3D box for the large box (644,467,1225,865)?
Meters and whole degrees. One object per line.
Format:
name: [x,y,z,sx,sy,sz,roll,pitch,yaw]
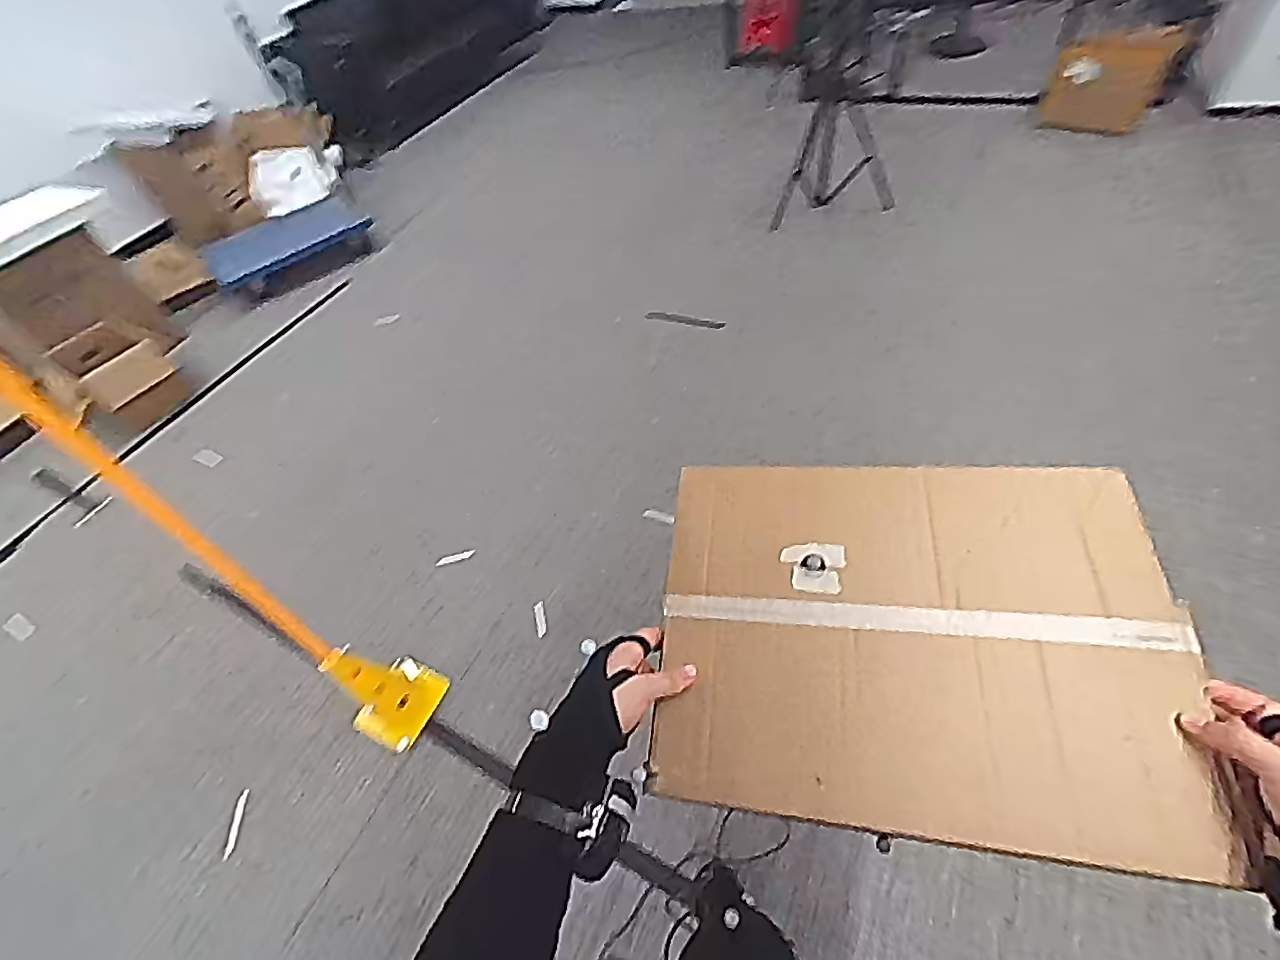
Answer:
large box: [0.247,0.202,0.599,0.408,0.320,0.320,-1,58,15]
